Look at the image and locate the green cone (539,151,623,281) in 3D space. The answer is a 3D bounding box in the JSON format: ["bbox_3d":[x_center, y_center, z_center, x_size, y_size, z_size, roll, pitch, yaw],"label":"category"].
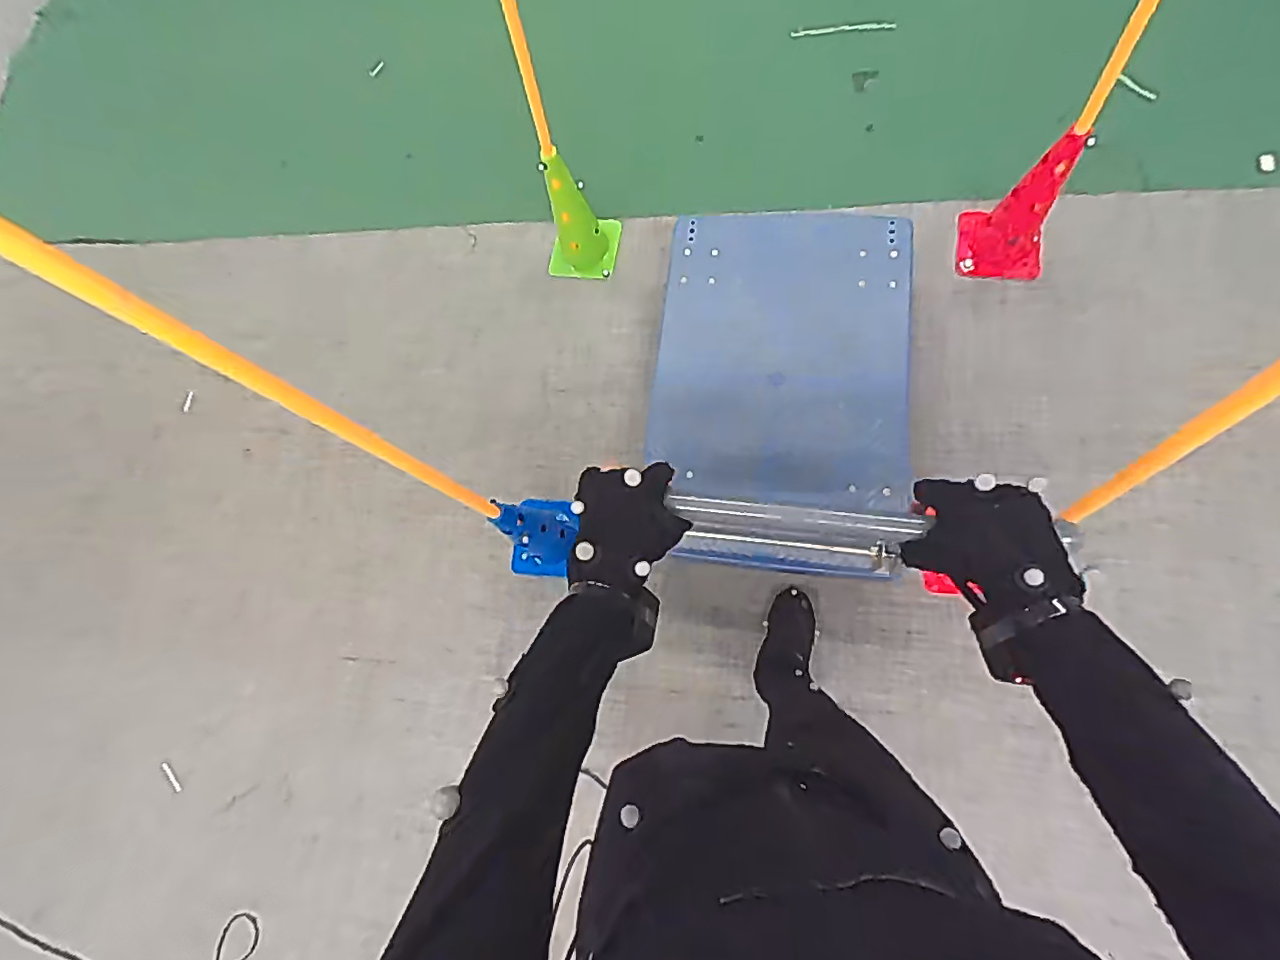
[{"bbox_3d":[-0.190,-0.739,1.478,0.202,0.368,0.200,7,76,12],"label":"green cone"}]

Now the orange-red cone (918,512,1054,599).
[{"bbox_3d":[0.729,0.131,1.105,0.199,0.360,0.198,2,75,12],"label":"orange-red cone"}]
